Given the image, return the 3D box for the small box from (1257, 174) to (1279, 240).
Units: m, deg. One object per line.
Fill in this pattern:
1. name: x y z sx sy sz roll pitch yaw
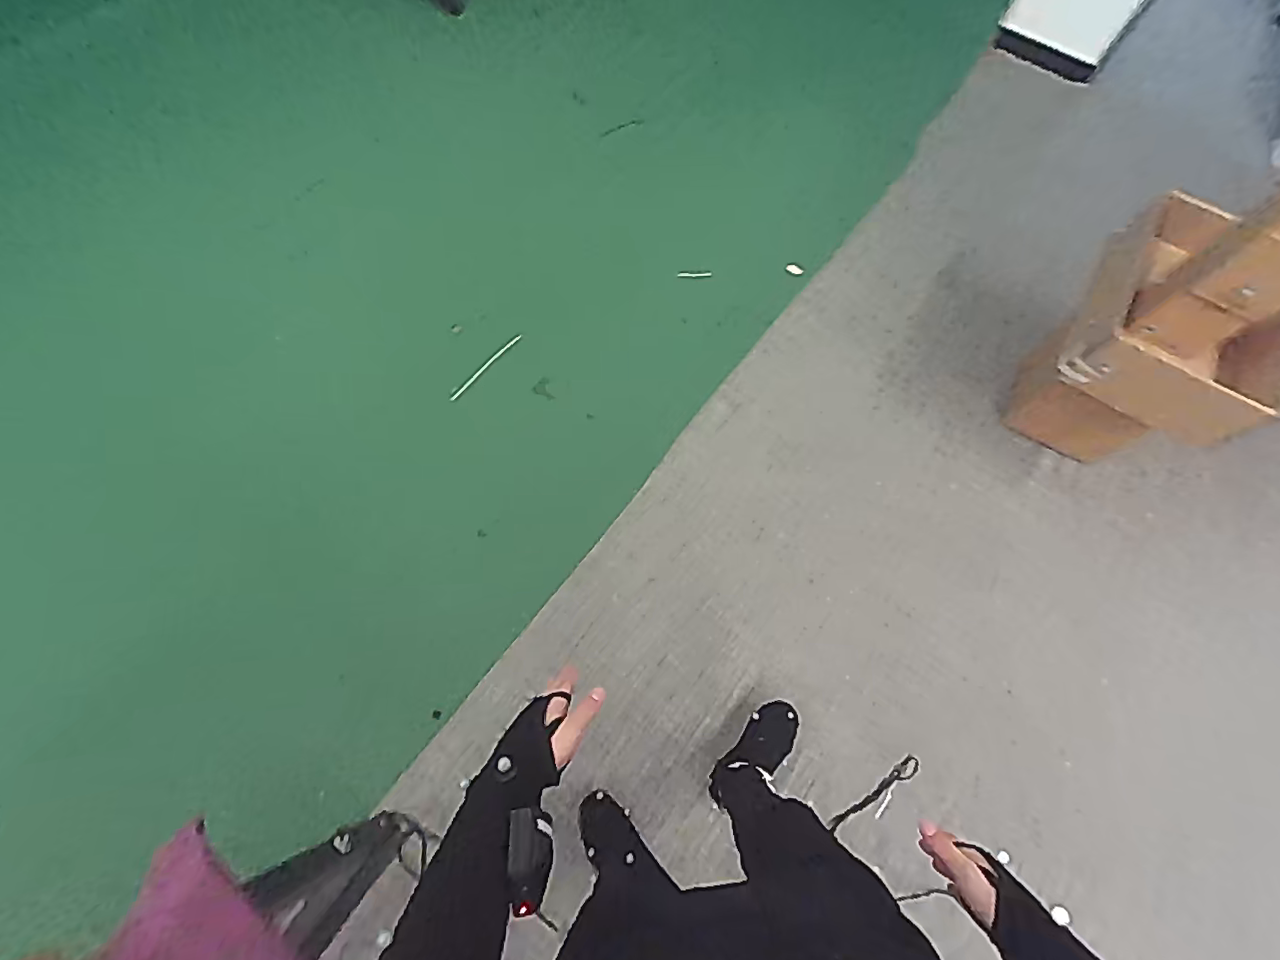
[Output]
1. small box: 1.421 -0.586 1.090 0.168 0.176 0.179 32 69 9

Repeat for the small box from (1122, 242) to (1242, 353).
1. small box: 1.403 -0.463 1.393 0.168 0.176 0.179 33 68 10

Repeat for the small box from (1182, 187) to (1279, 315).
1. small box: 1.409 -0.518 1.237 0.168 0.176 0.179 32 69 10
